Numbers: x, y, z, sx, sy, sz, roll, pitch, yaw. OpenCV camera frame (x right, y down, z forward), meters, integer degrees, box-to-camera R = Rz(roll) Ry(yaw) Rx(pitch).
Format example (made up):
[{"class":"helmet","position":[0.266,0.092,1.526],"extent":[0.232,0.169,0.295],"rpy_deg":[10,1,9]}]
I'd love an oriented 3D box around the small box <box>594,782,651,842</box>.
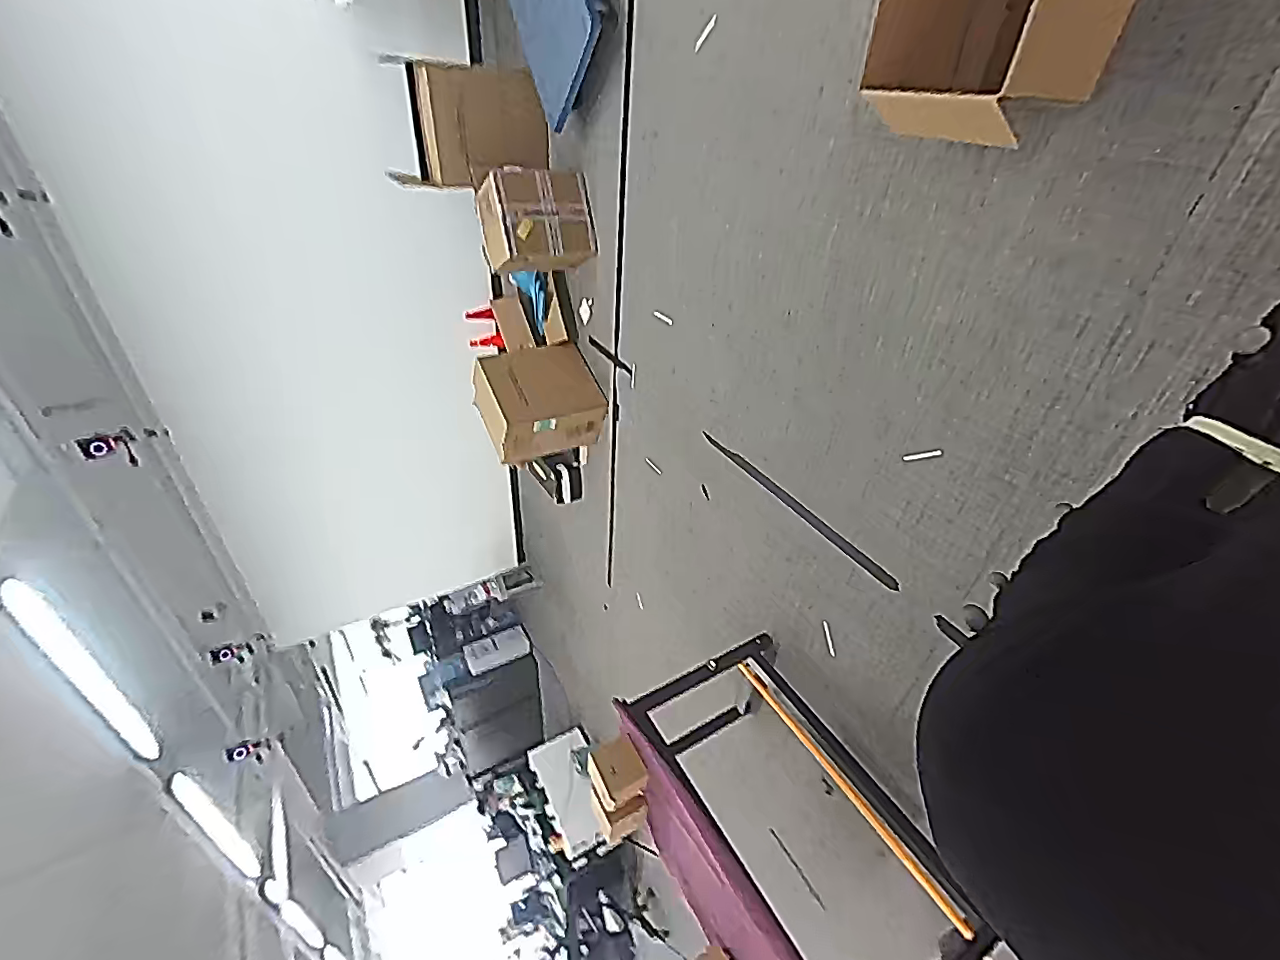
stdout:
[{"class":"small box","position":[-0.075,1.318,2.203],"extent":[0.179,0.176,0.168],"rpy_deg":[46,142,43]}]

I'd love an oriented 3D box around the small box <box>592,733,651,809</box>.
[{"class":"small box","position":[-0.071,1.117,2.080],"extent":[0.179,0.176,0.168],"rpy_deg":[51,147,38]}]
